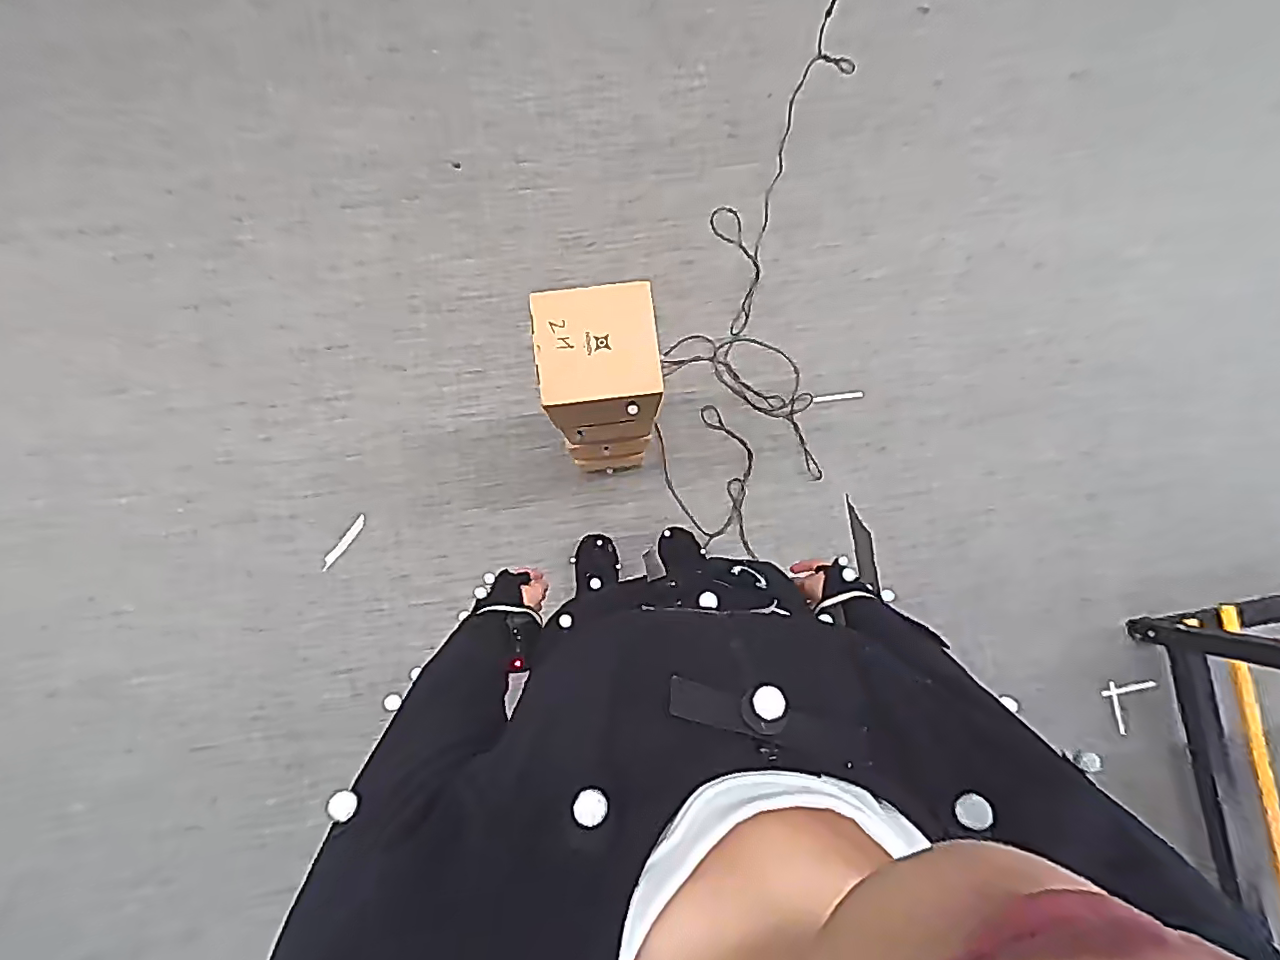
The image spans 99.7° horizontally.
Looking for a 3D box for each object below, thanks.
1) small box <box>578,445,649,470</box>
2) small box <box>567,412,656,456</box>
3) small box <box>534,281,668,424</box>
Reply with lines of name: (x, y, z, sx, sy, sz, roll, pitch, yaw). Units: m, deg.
small box: (-0.071, -0.126, 1.327, 0.168, 0.176, 0.179, -7, 86, -2)
small box: (-0.066, -0.149, 1.166, 0.179, 0.176, 0.168, -7, 86, -1)
small box: (-0.058, -0.188, 0.838, 0.179, 0.176, 0.168, -7, 84, -1)
